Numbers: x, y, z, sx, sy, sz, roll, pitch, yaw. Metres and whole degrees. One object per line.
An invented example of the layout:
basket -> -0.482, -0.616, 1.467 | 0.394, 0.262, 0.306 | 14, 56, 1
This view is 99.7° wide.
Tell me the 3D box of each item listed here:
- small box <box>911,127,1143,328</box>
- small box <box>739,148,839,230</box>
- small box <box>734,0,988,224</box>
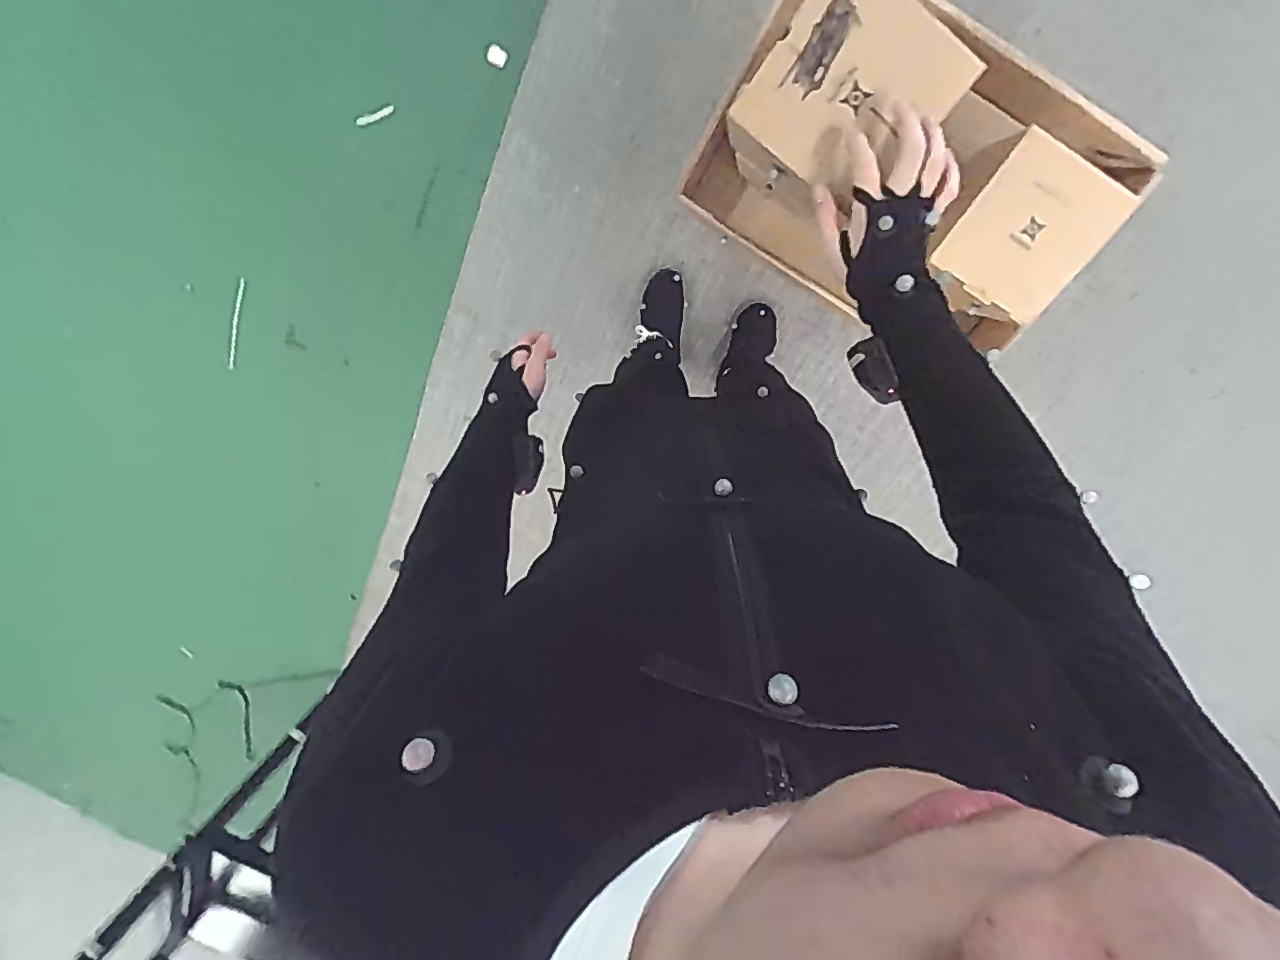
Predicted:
small box -> 0.505, -0.337, 0.746 | 0.168, 0.176, 0.179 | 32, 115, -4
small box -> 0.256, -0.467, 0.743 | 0.168, 0.176, 0.179 | 35, 114, -4
small box -> 0.221, -0.404, 0.594 | 0.179, 0.176, 0.168 | 38, 114, -6
